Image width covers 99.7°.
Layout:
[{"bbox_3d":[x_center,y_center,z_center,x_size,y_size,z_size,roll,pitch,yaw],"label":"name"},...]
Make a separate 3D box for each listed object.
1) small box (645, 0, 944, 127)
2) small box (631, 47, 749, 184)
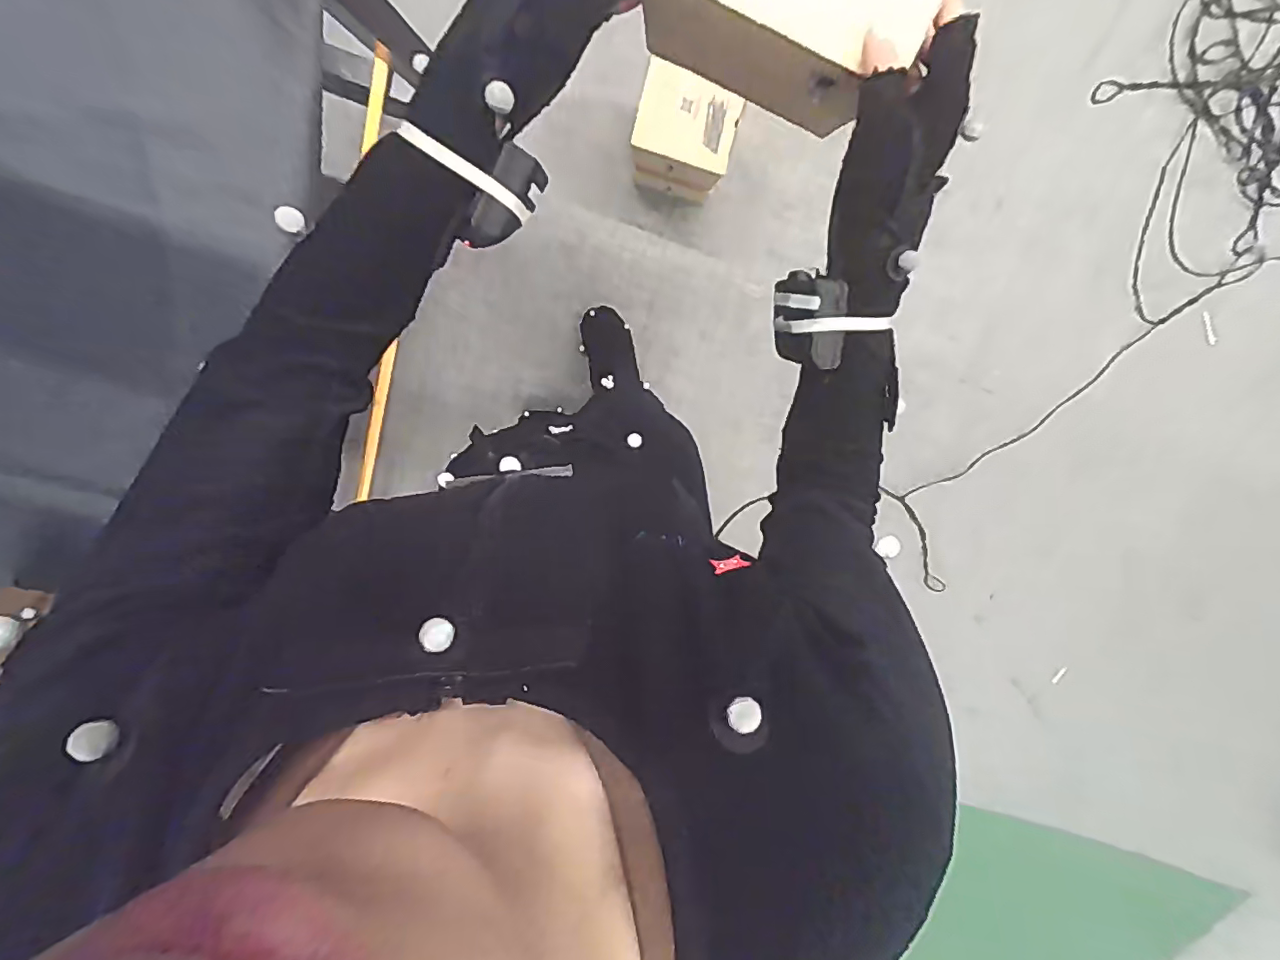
[{"bbox_3d":[0.108,-0.361,0.354,0.179,0.176,0.168,21,116,-7],"label":"small box"},{"bbox_3d":[0.090,-0.661,0.991,0.179,0.176,0.168,16,110,-5],"label":"small box"}]
